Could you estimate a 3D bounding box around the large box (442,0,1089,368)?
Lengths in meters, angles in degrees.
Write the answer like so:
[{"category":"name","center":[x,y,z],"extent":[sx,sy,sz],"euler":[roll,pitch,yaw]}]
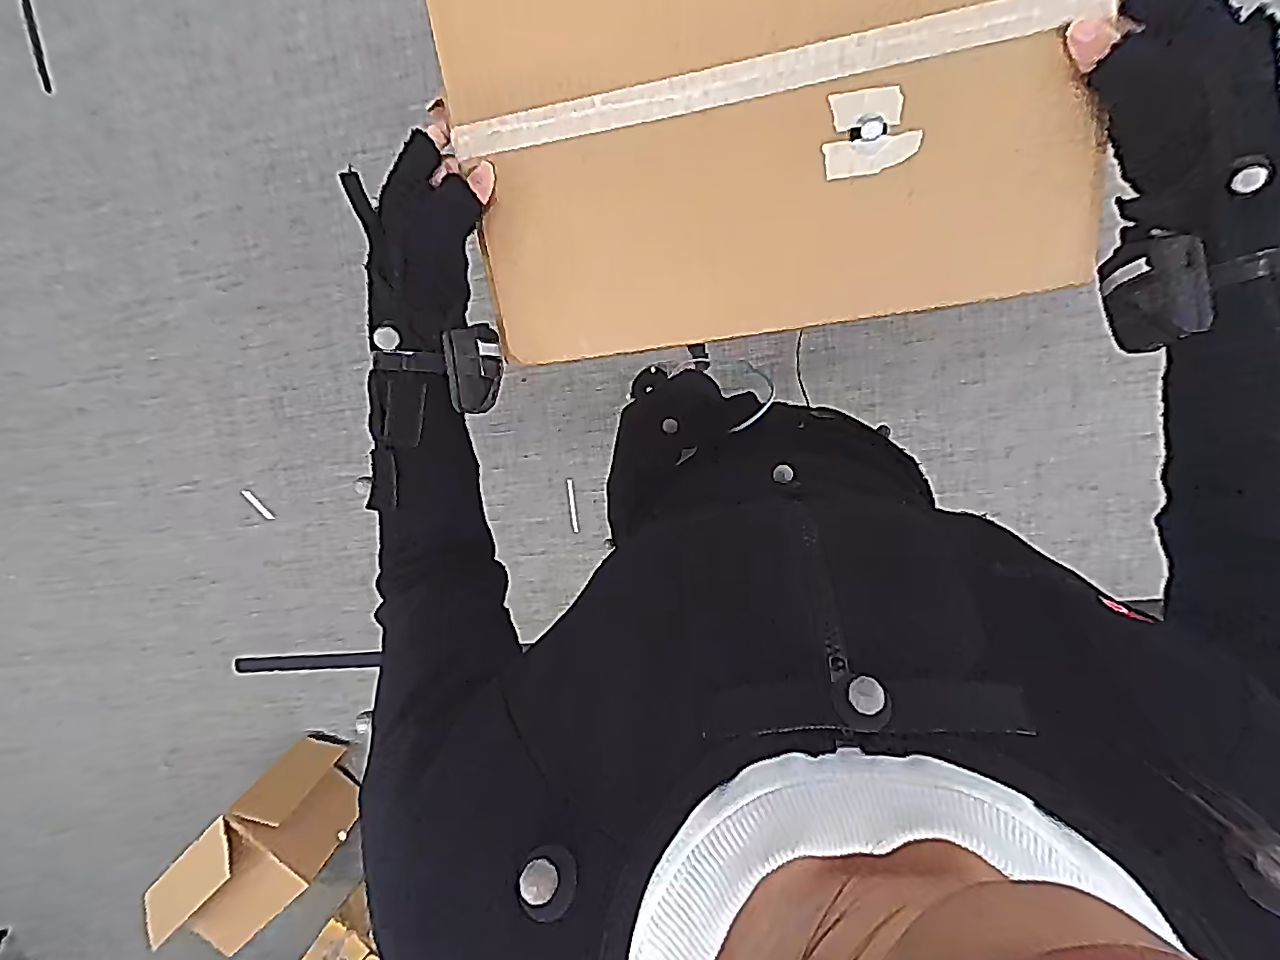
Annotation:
[{"category":"large box","center":[0.092,-0.301,0.499],"extent":[0.408,0.320,0.320],"euler":[-7,106,9]}]
